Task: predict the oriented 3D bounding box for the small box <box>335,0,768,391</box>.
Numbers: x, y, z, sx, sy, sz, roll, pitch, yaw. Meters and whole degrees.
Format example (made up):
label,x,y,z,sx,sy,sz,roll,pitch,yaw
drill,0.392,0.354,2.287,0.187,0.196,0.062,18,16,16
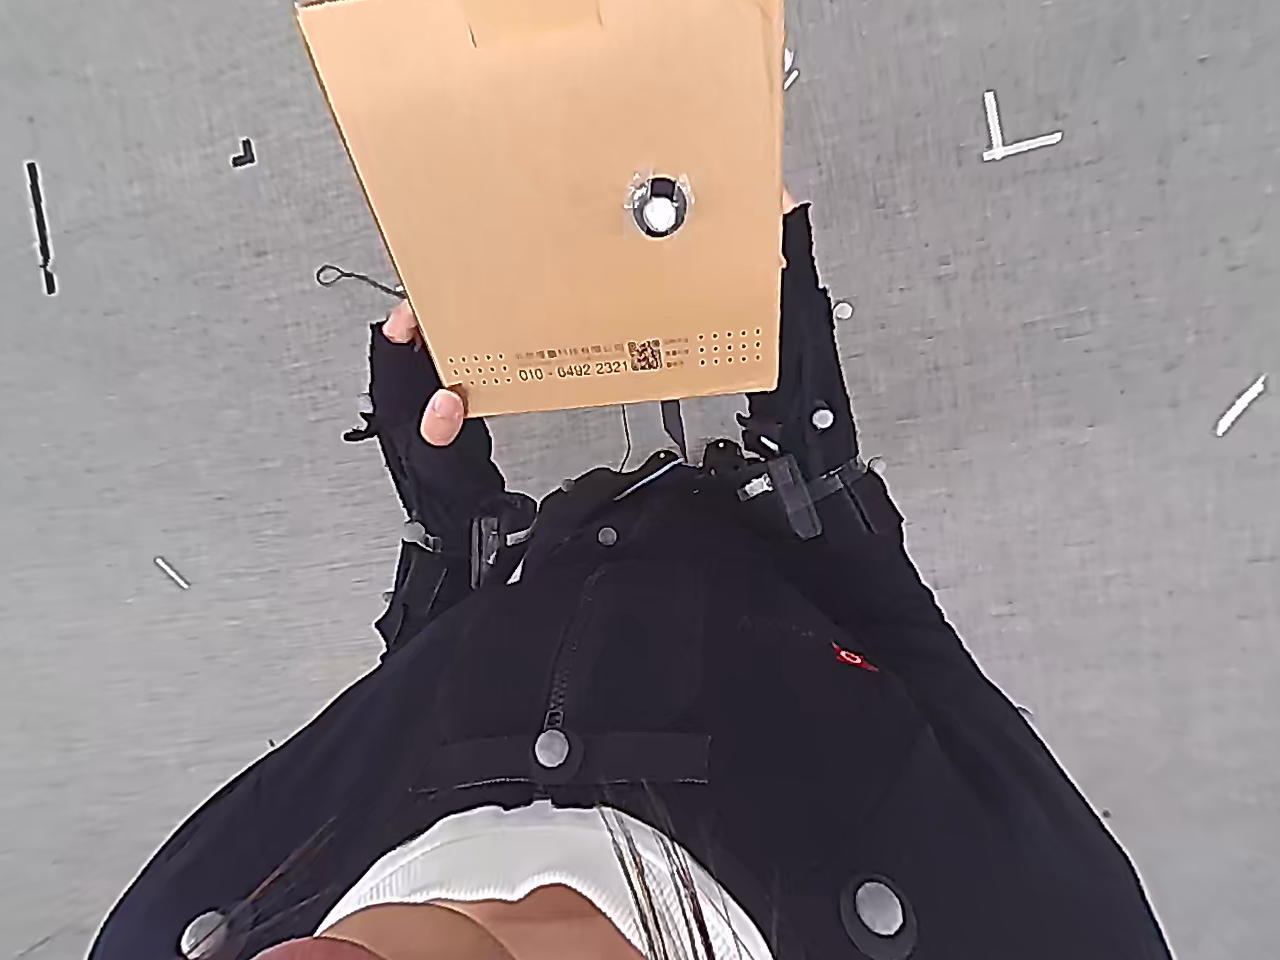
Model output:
label,x,y,z,sx,sy,sz,roll,pitch,yaw
small box,-0.018,-0.160,0.304,0.168,0.179,0.176,-3,129,8
